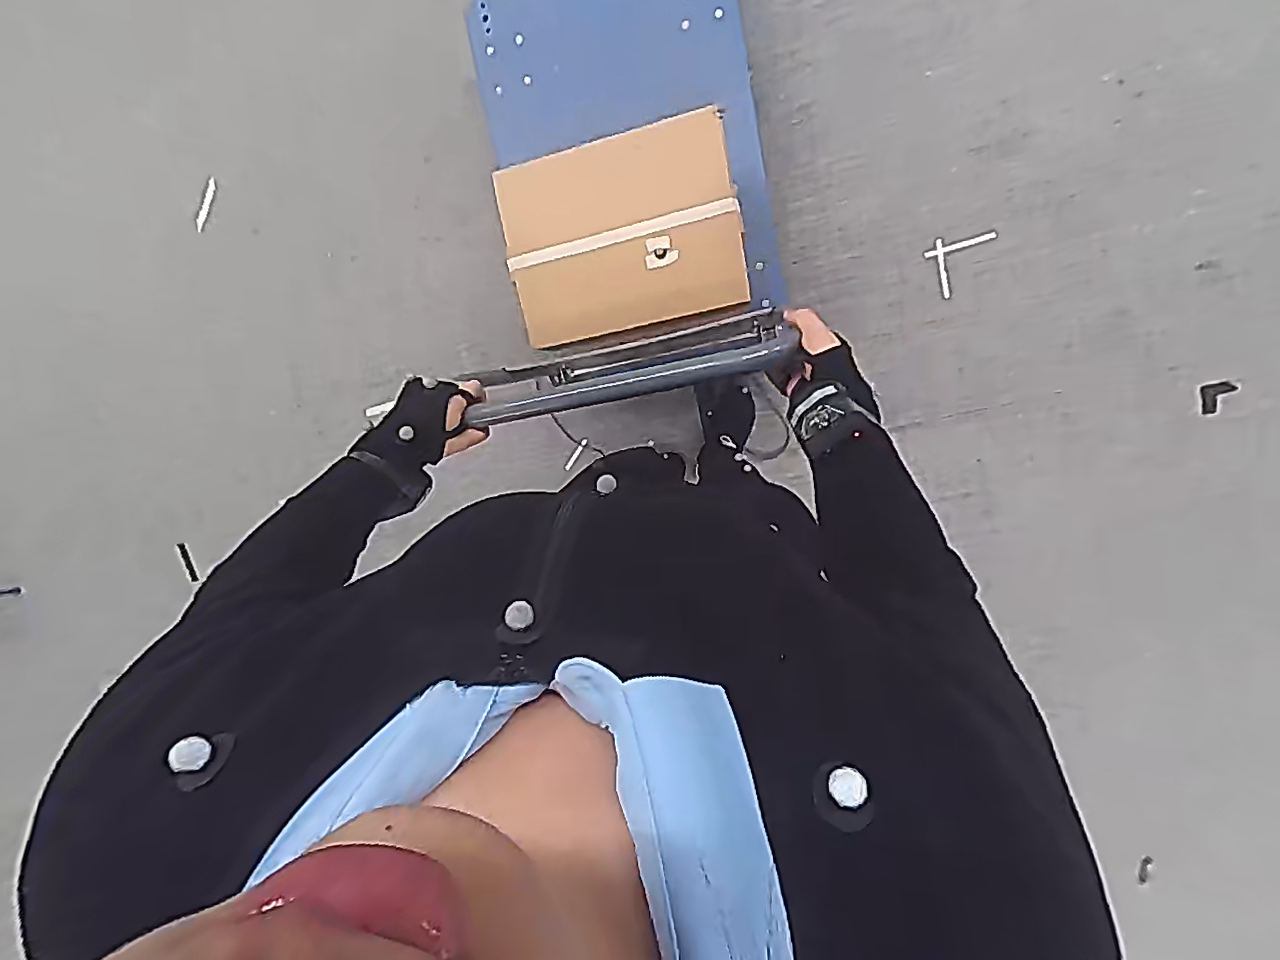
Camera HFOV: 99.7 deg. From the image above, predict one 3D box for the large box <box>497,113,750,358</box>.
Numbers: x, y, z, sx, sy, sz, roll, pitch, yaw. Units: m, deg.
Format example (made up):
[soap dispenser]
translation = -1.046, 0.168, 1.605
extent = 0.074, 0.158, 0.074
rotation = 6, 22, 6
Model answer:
[large box]
translation = -0.011, -0.445, 1.086
extent = 0.408, 0.320, 0.320
rotation = -10, 100, 11
